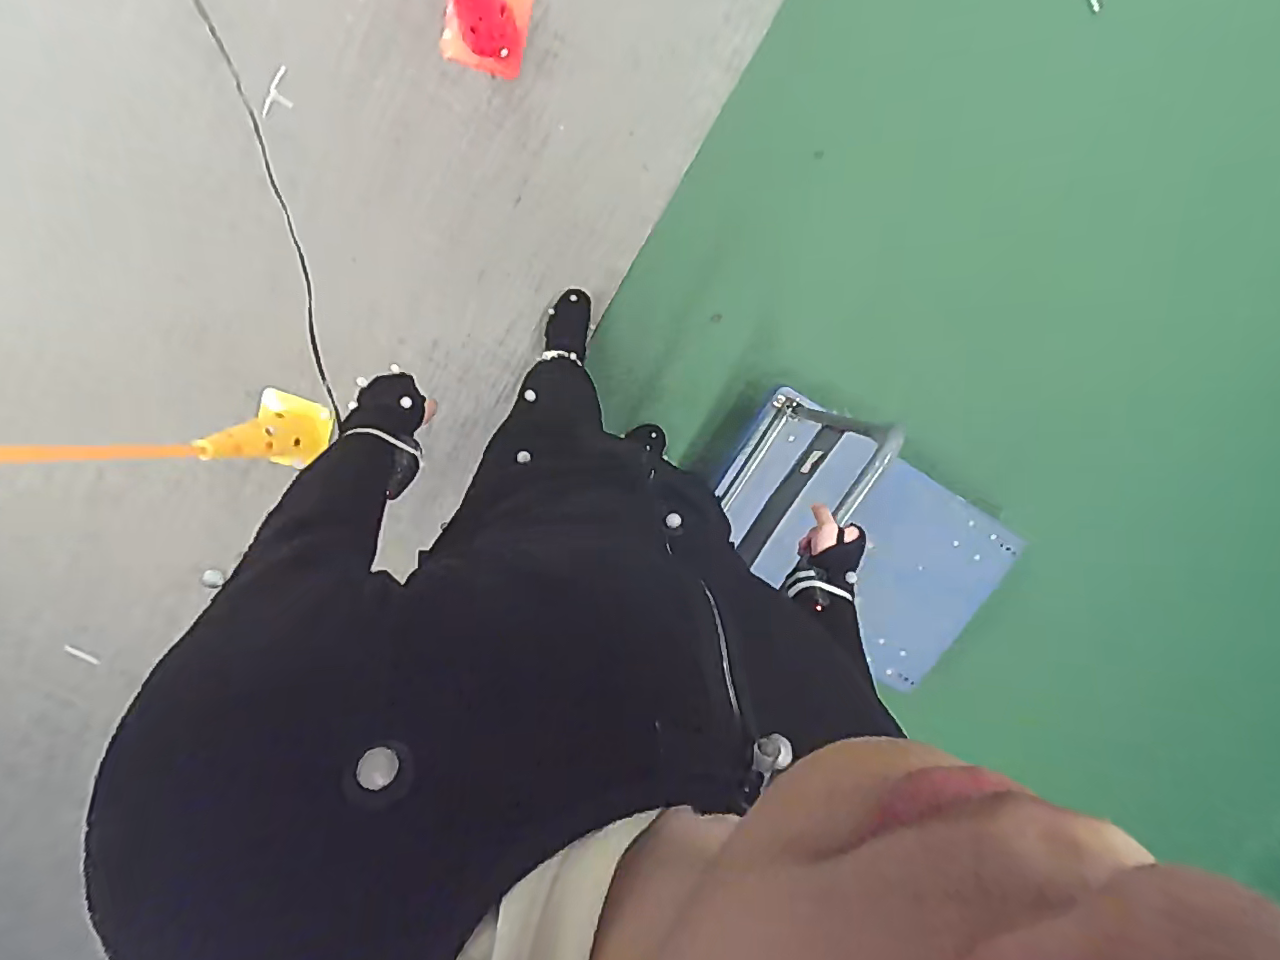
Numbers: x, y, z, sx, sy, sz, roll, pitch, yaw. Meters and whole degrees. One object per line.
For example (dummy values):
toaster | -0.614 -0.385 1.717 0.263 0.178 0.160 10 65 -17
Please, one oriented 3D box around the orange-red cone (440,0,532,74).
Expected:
orange-red cone | -0.372 -1.108 1.175 0.198 0.360 0.199 16 100 -7
